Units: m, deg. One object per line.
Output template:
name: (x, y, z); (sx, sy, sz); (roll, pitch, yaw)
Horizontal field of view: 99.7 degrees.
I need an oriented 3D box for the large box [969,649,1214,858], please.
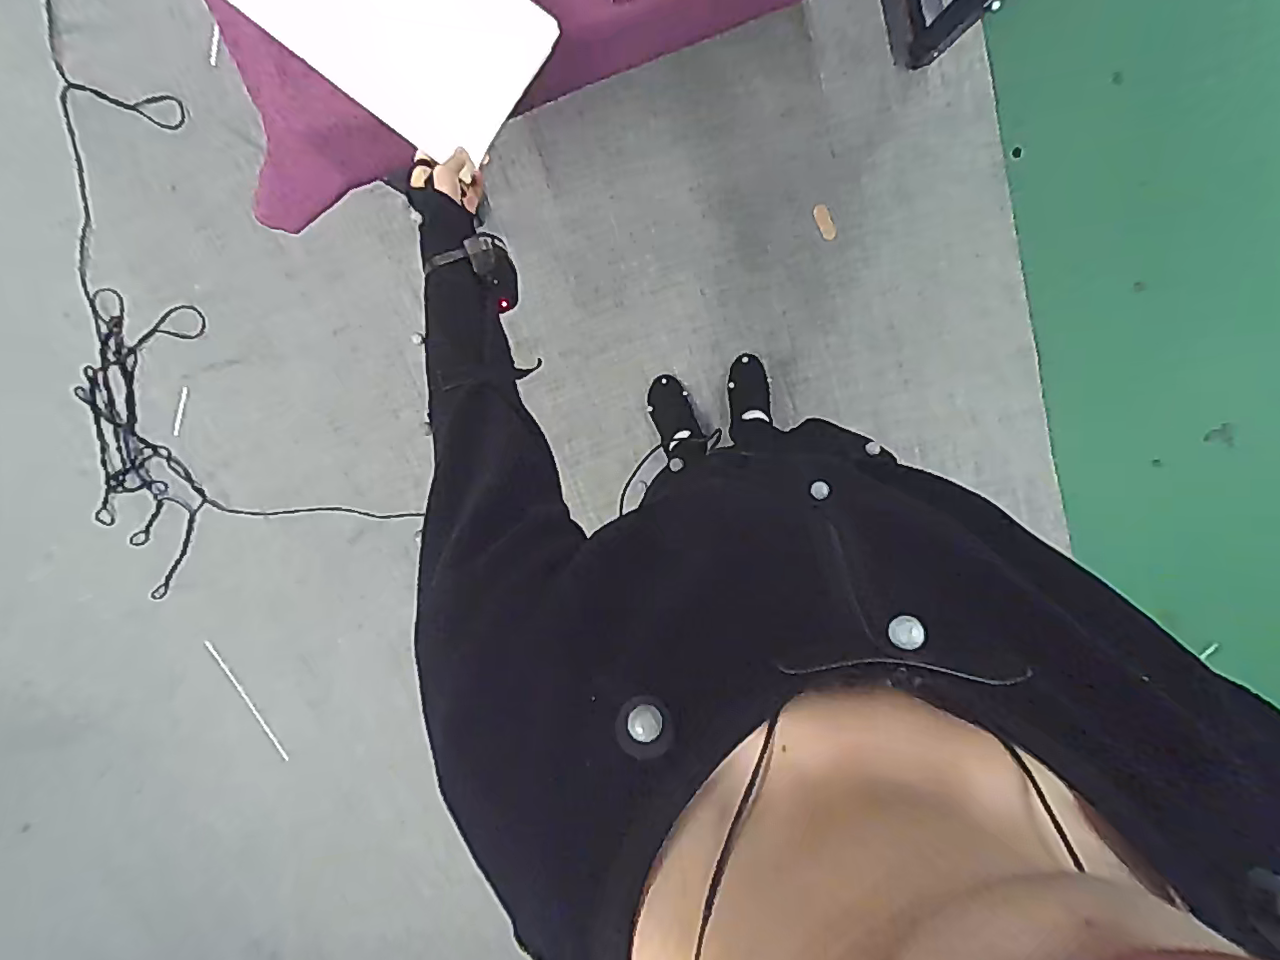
large box: (1.291, 0.783, 1.585); (0.408, 0.320, 0.320); (-34, 103, 6)
